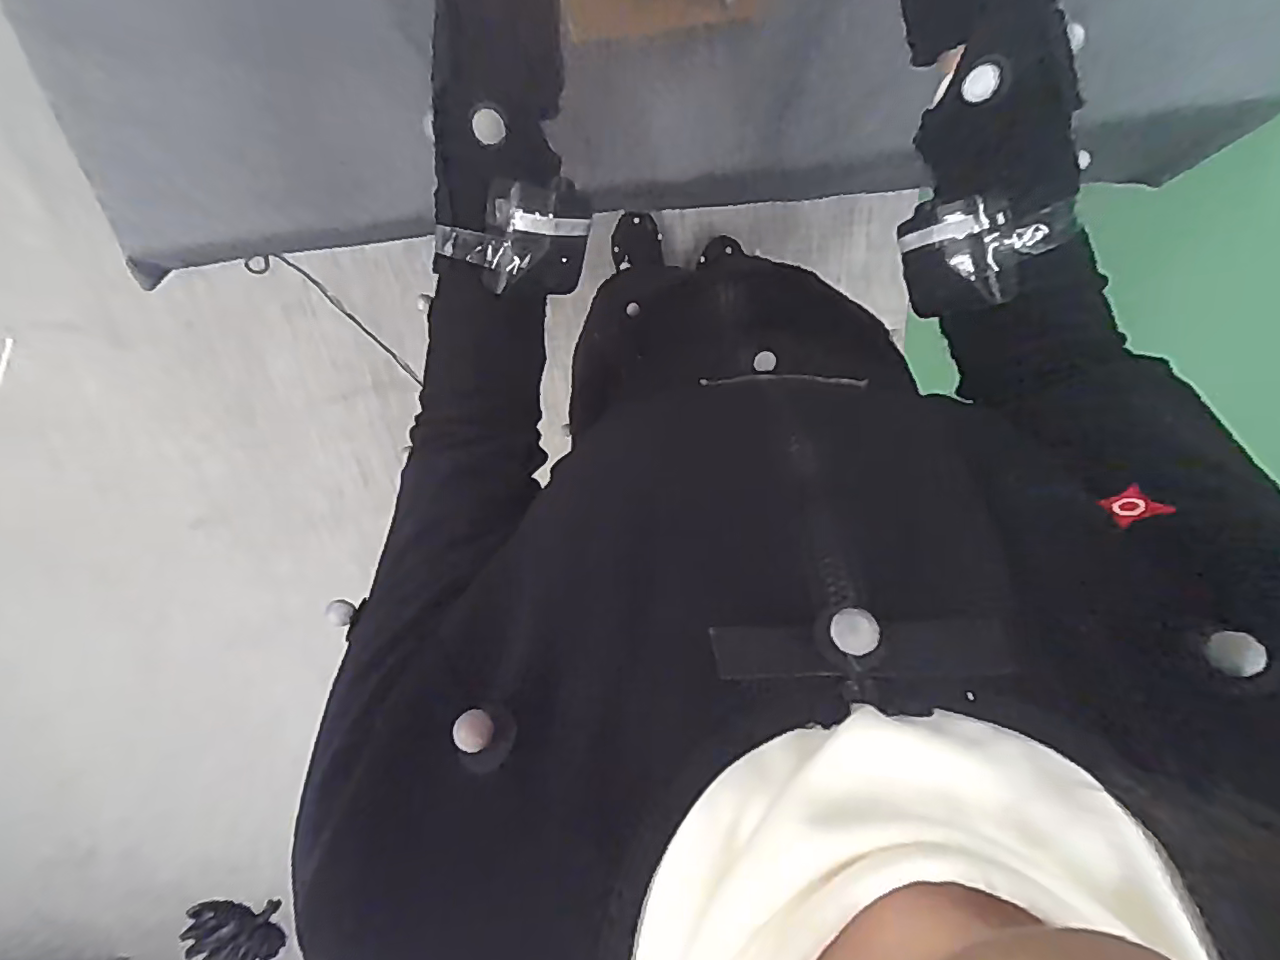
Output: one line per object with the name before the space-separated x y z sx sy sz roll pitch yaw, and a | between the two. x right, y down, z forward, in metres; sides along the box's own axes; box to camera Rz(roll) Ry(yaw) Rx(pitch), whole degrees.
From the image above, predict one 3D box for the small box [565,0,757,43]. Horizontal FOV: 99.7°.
small box | 0.017 -0.464 0.404 0.179 0.176 0.168 -7 114 4
